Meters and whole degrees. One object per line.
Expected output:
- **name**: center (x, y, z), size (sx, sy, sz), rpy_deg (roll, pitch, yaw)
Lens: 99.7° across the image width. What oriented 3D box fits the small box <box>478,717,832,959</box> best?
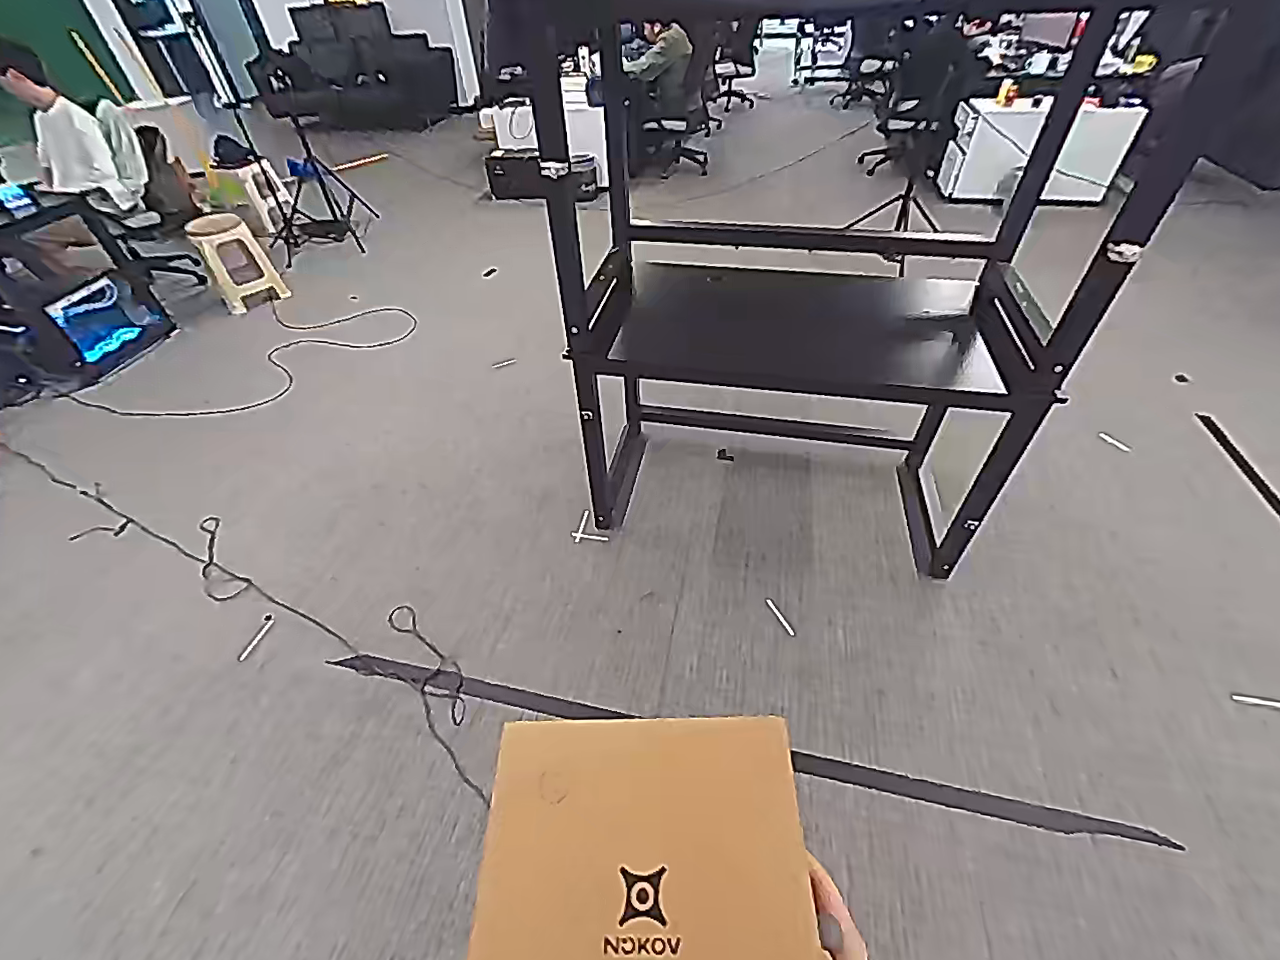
- **small box**: center (0.010, 0.258, 0.321), size (0.168, 0.176, 0.179), rpy_deg (-3, 50, 3)
